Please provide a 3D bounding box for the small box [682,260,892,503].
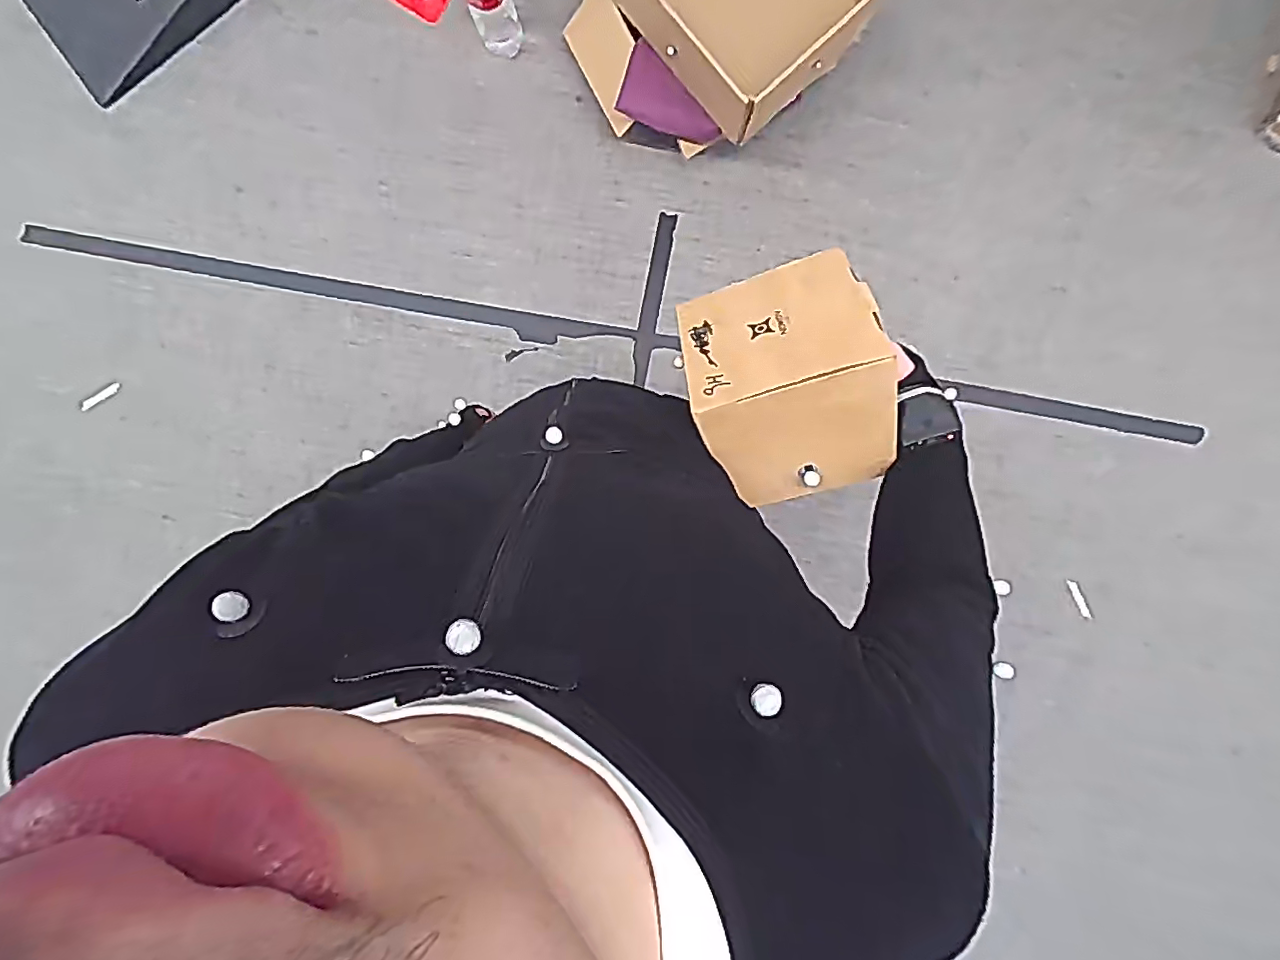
[{"bbox_3d":[0.157,-0.098,0.588,0.179,0.168,0.176,-15,140,14],"label":"small box"}]
